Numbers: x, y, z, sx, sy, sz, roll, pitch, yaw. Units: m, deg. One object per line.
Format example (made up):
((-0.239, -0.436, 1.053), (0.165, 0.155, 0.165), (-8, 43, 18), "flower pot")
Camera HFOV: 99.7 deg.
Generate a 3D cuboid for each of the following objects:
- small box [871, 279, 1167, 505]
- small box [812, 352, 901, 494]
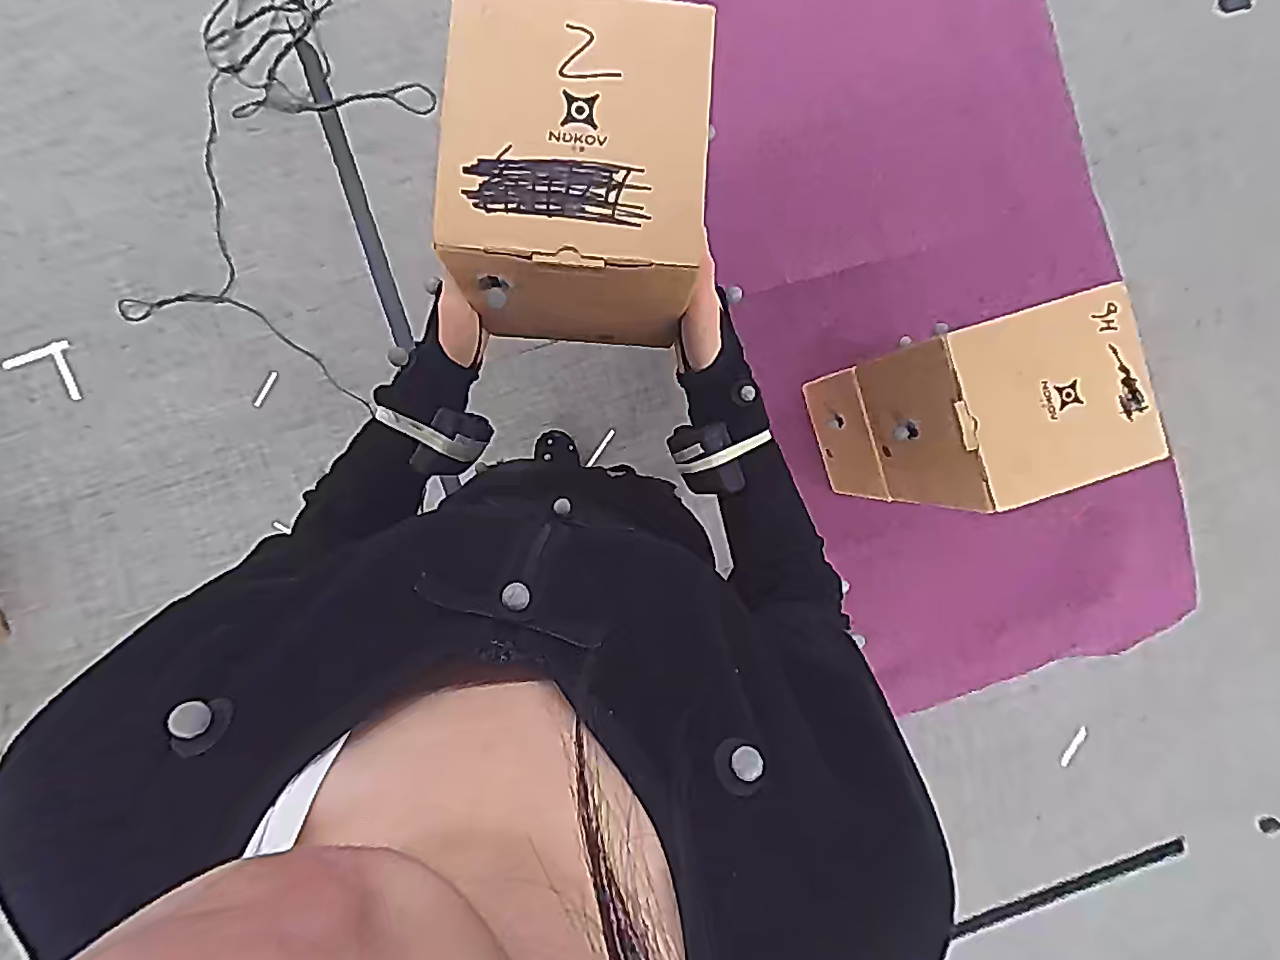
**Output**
((0.363, -0.079, 0.556), (0.179, 0.176, 0.168), (-17, 93, -3), "small box")
((0.347, -0.085, 0.720), (0.179, 0.176, 0.168), (-18, 93, -3), "small box")
